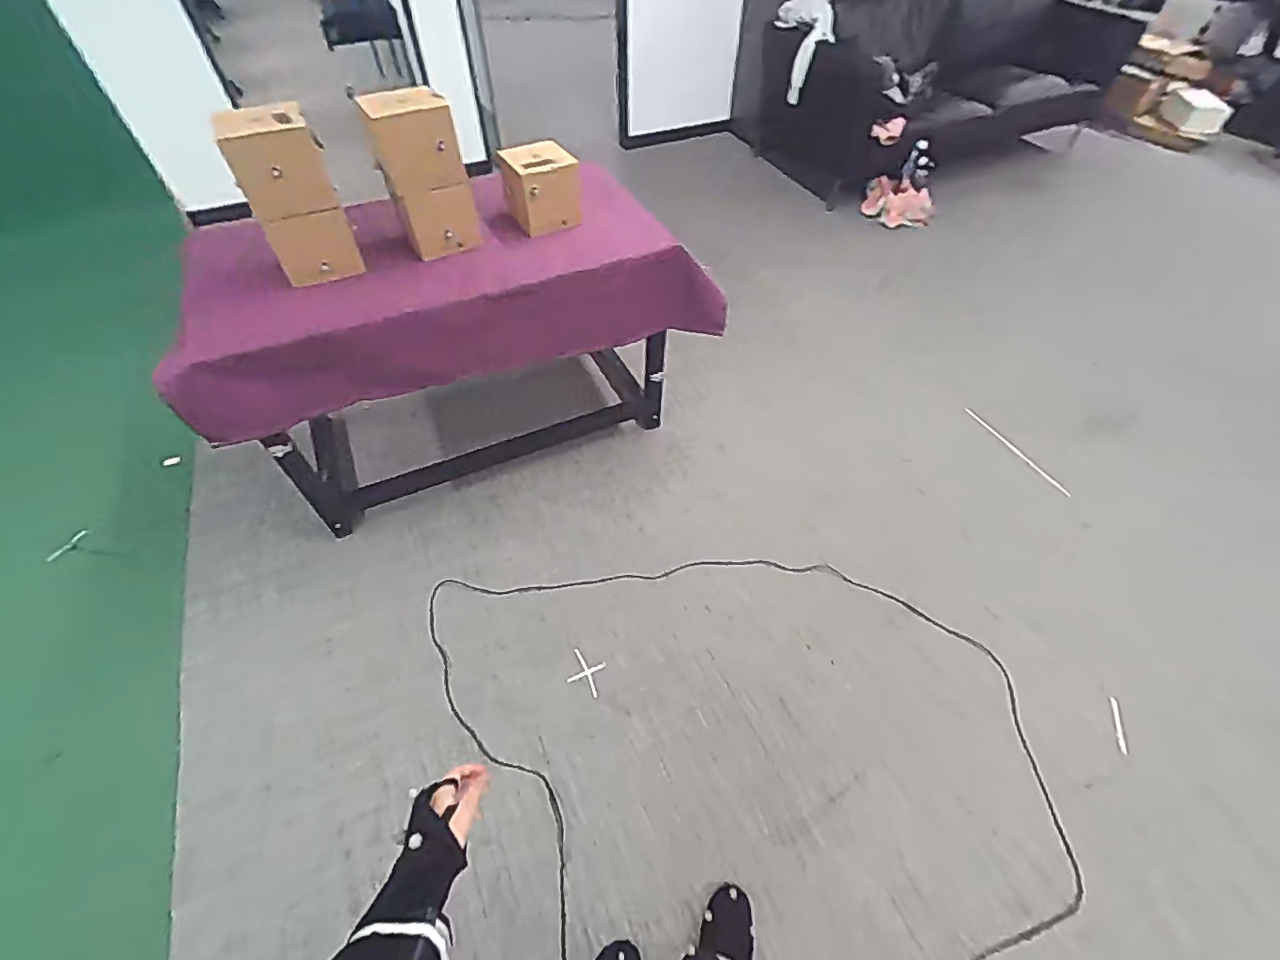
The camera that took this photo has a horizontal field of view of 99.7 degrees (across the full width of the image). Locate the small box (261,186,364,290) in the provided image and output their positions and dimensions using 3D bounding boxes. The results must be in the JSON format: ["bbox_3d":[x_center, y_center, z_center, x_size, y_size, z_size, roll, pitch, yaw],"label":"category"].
[{"bbox_3d":[-0.807,-0.601,1.338,0.179,0.176,0.168,-22,55,-18],"label":"small box"}]

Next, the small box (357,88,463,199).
[{"bbox_3d":[-0.541,-0.805,1.297,0.179,0.176,0.168,-26,56,-19],"label":"small box"}]

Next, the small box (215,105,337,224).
[{"bbox_3d":[-0.804,-0.703,1.209,0.179,0.176,0.168,-22,56,-17],"label":"small box"}]

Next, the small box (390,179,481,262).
[{"bbox_3d":[-0.542,-0.707,1.428,0.168,0.176,0.179,-27,58,-20],"label":"small box"}]
